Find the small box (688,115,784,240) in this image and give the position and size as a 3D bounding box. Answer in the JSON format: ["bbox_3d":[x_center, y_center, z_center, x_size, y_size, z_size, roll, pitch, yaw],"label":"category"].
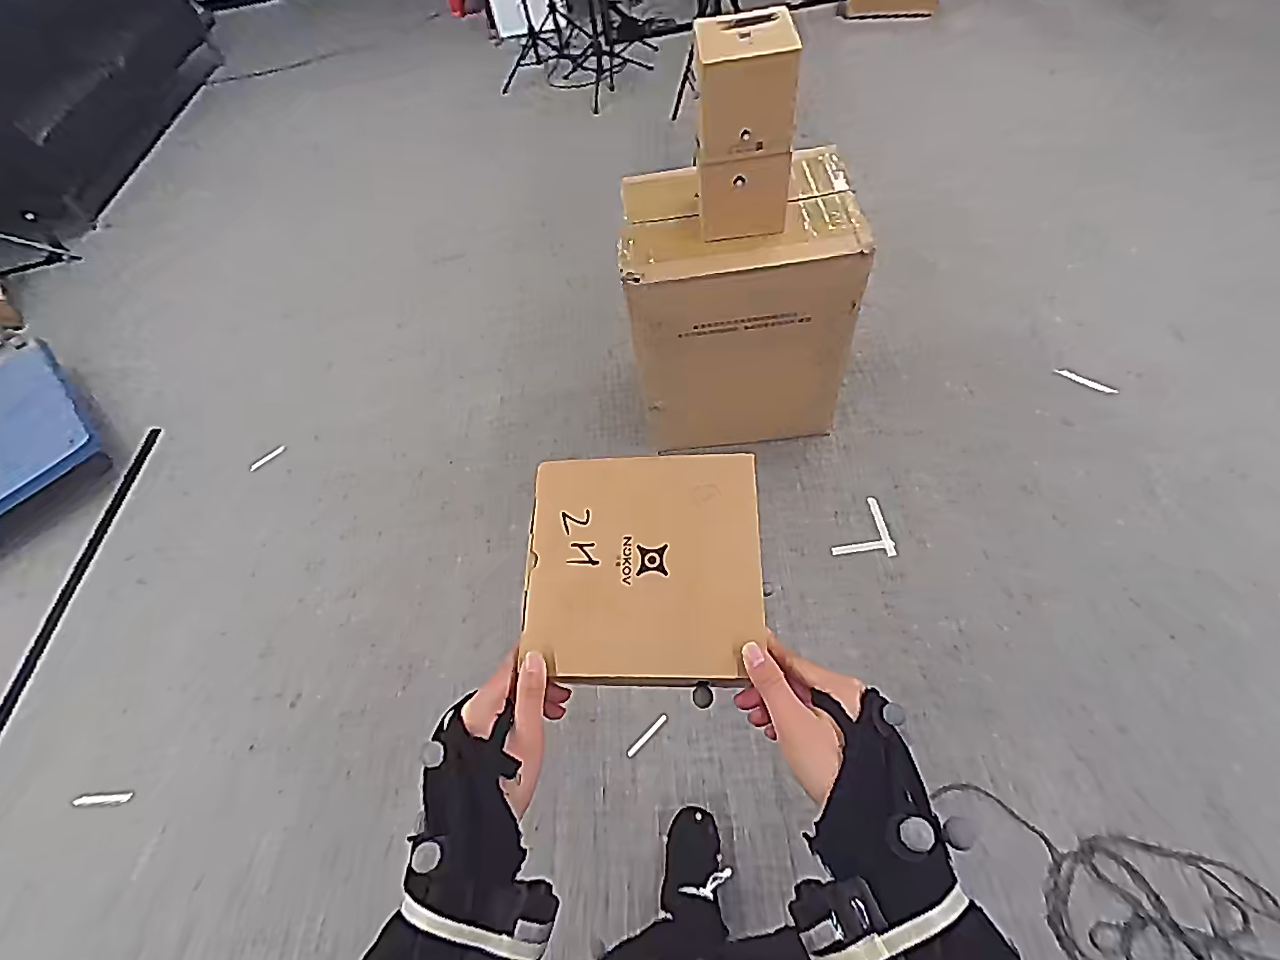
[{"bbox_3d":[0.198,-0.629,1.138,0.179,0.176,0.168,-5,58,5],"label":"small box"}]

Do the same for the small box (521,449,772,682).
[{"bbox_3d":[0.014,0.084,0.474,0.179,0.176,0.168,-2,66,8],"label":"small box"}]
